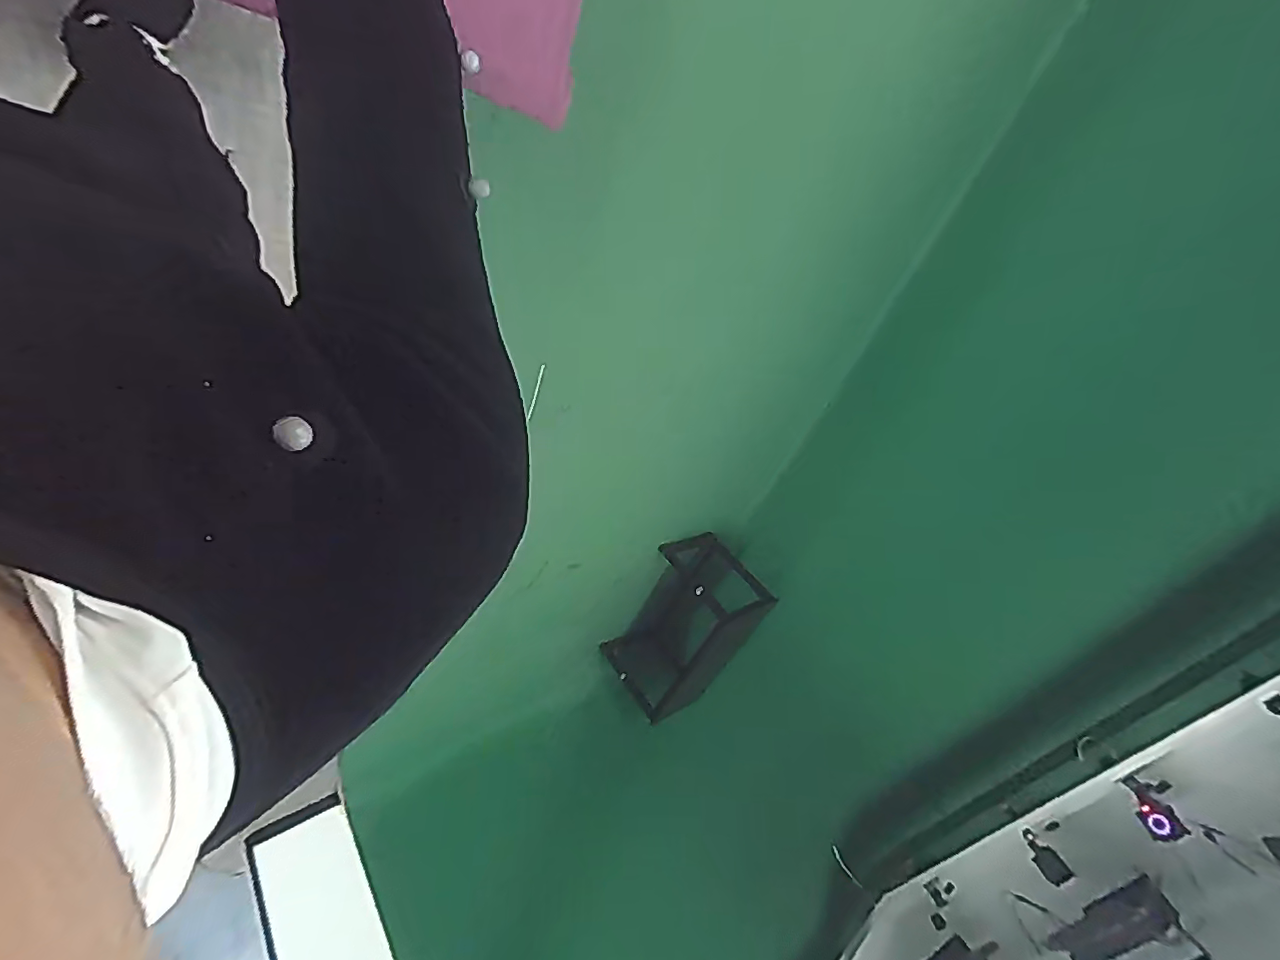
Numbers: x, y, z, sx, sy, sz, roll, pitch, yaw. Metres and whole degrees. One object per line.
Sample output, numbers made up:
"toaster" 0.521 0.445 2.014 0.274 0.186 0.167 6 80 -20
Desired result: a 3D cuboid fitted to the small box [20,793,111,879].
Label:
"small box" -1.645 1.047 1.555 0.168 0.176 0.179 -9 135 -45
